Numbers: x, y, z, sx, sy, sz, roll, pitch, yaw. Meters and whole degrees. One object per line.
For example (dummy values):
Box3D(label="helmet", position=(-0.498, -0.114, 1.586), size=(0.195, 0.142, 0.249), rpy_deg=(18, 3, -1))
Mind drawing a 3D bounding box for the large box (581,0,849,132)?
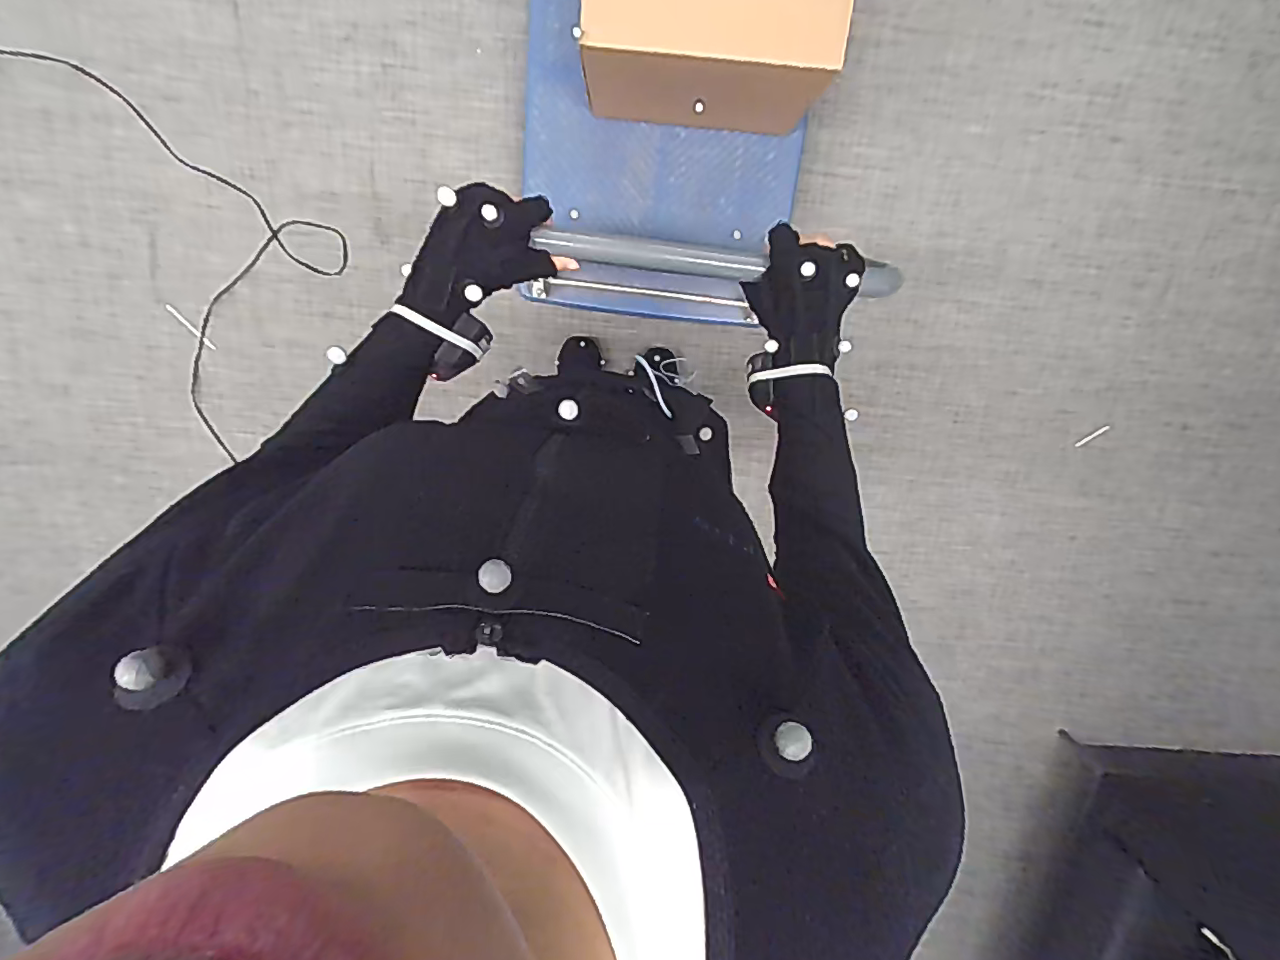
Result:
Box3D(label="large box", position=(0.120, -0.826, 0.924), size=(0.408, 0.320, 0.320), rpy_deg=(5, 106, -1))
